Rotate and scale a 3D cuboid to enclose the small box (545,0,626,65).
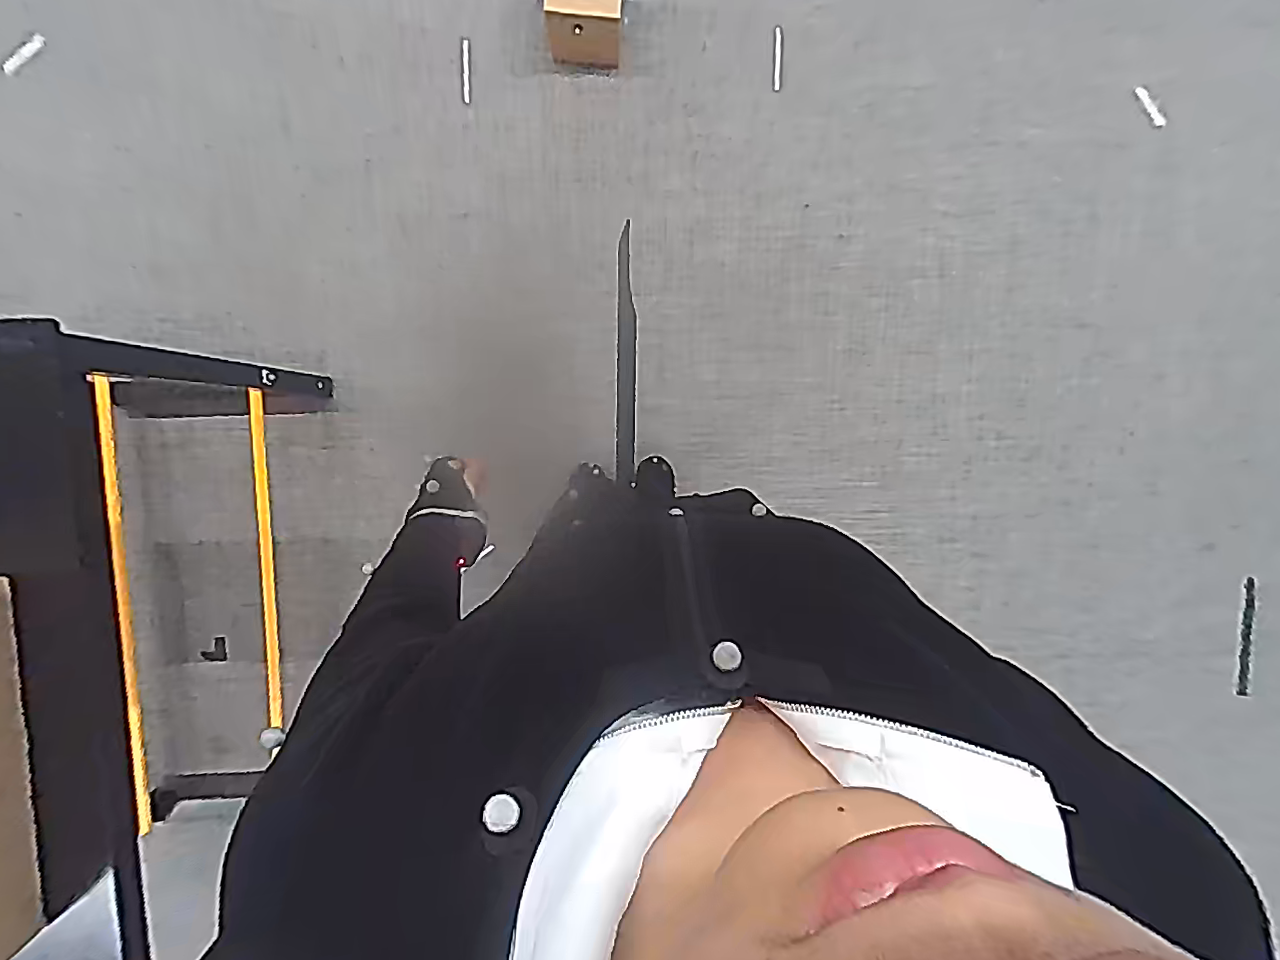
[{"bbox_3d":[-0.126,-1.136,1.292,0.179,0.176,0.168,3,96,-3],"label":"small box"}]
